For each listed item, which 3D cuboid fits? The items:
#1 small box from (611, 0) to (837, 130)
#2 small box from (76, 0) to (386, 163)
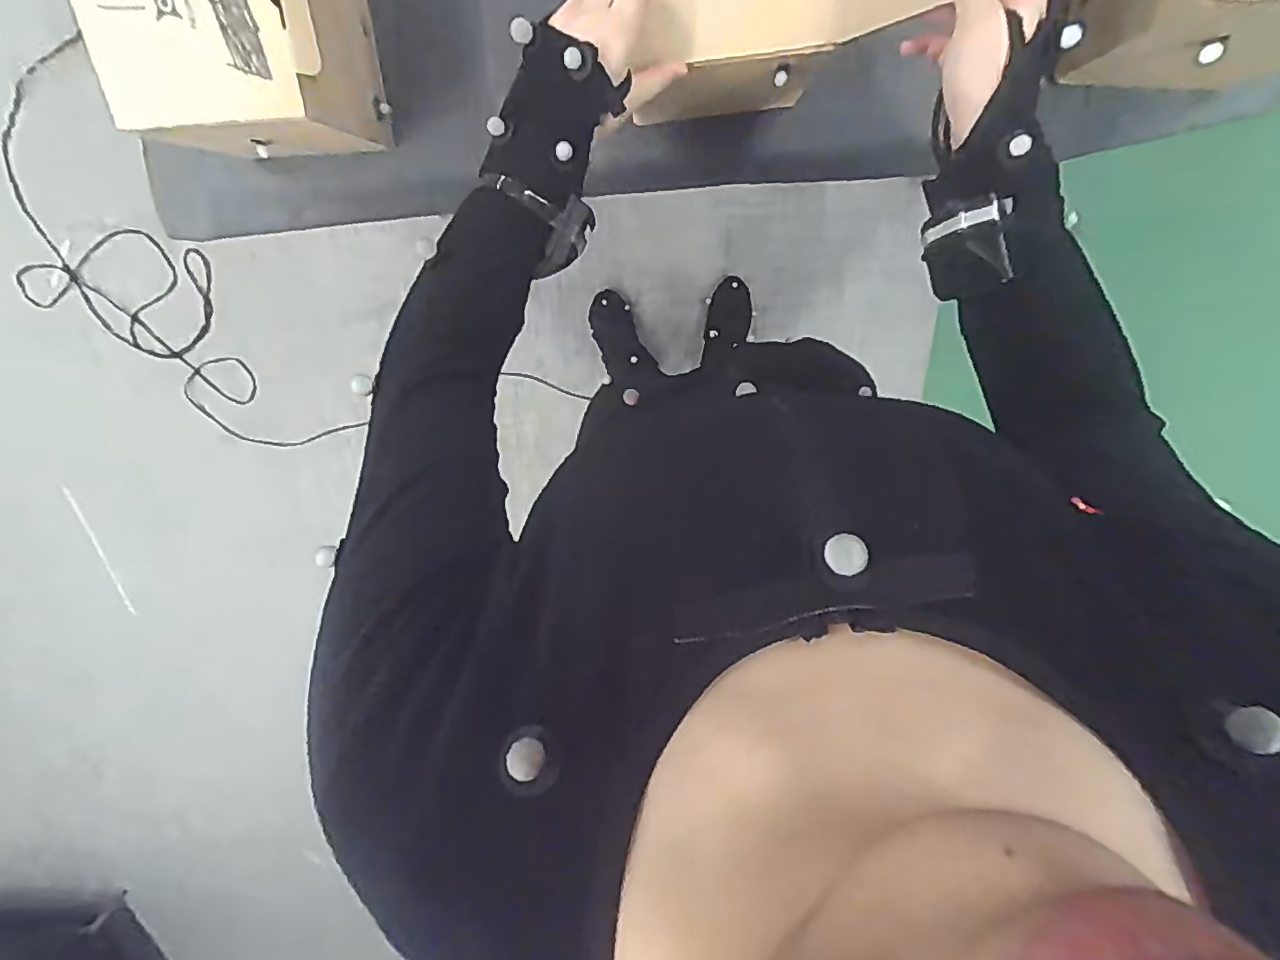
[{"bbox_3d":[0.066,-0.434,0.483,0.179,0.176,0.168,-5,111,5],"label":"small box"},{"bbox_3d":[-0.365,-0.408,0.512,0.179,0.176,0.168,-1,113,4],"label":"small box"}]
